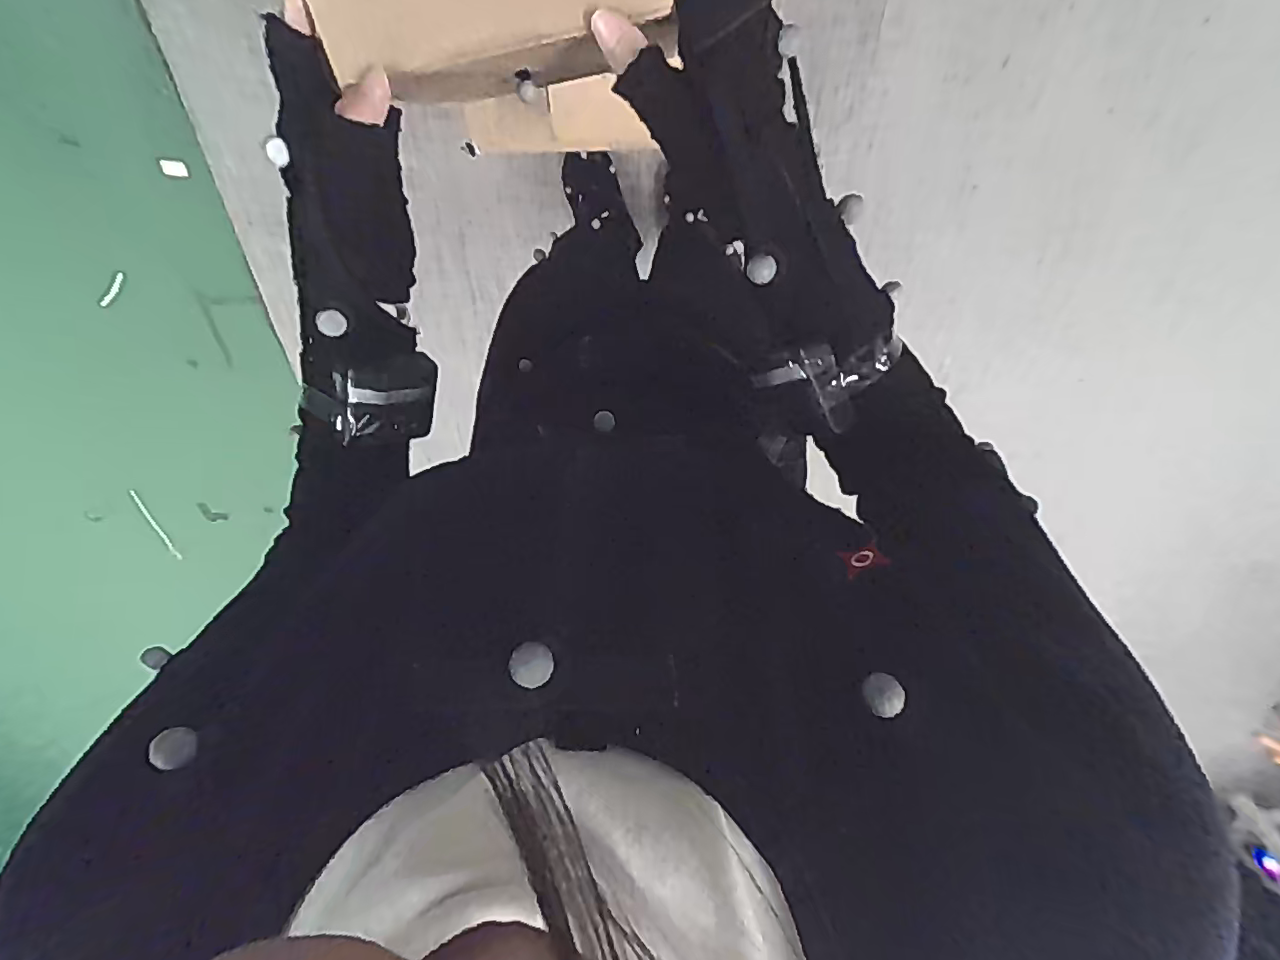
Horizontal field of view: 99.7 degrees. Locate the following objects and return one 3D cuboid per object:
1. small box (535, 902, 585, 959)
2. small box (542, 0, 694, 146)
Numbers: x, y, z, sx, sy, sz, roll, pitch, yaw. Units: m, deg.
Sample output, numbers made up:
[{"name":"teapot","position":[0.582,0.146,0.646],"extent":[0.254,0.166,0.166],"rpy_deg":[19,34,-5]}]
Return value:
[{"name":"small box","position":[-0.297,1.716,2.037],"extent":[0.168,0.176,0.179],"rpy_deg":[0,129,0]},{"name":"small box","position":[-0.027,-0.553,0.715],"extent":[0.179,0.176,0.168],"rpy_deg":[0,131,-2]}]
